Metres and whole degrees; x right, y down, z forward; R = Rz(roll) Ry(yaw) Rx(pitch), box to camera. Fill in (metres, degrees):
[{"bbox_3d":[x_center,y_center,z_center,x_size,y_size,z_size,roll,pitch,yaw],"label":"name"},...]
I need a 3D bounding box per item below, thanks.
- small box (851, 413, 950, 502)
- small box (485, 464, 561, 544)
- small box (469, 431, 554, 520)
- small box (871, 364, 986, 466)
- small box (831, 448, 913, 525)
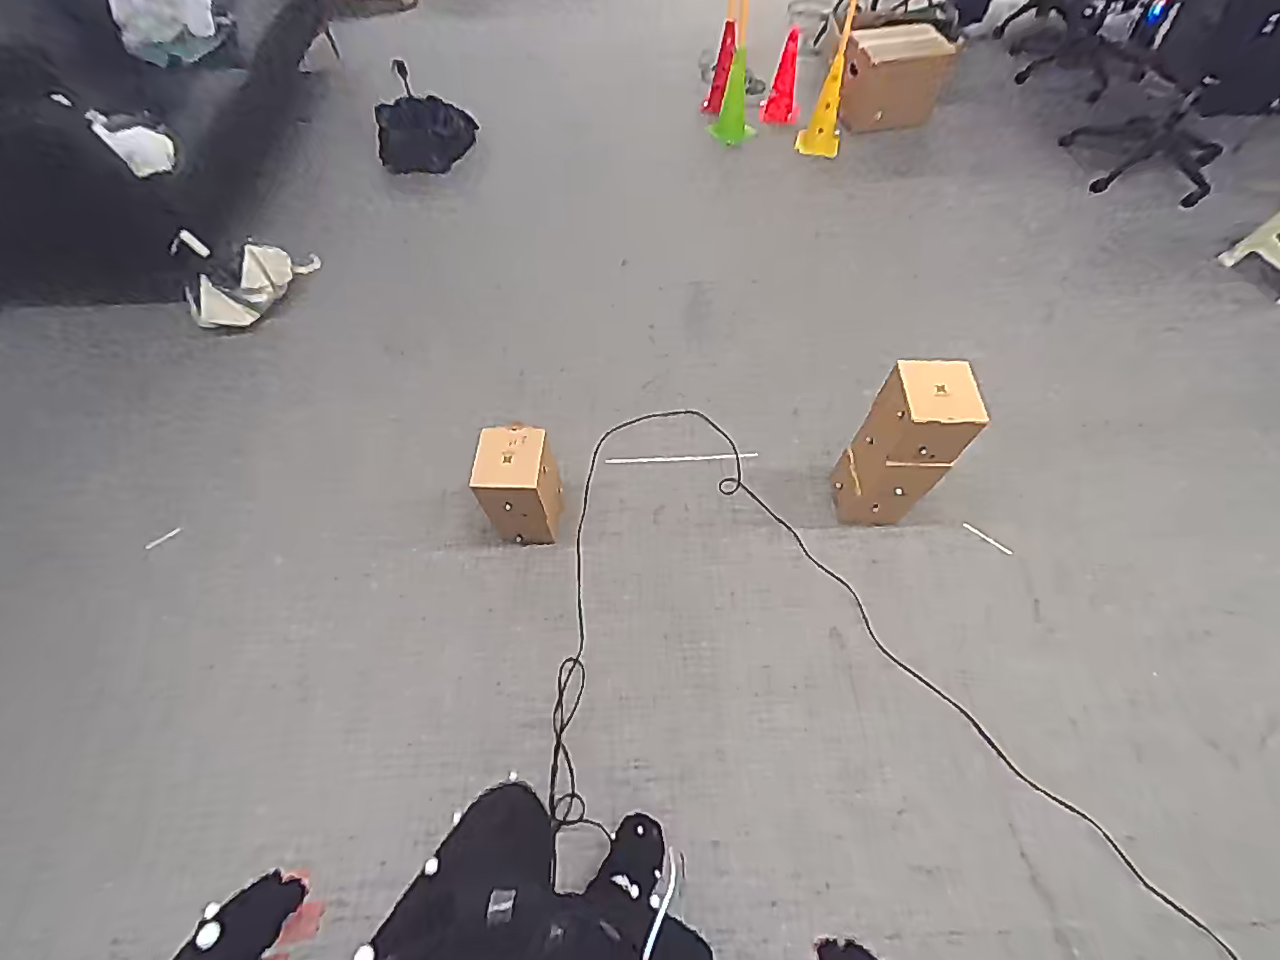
[{"bbox_3d":[0.668,-0.061,1.410,0.168,0.176,0.179,1,60,1],"label":"small box"},{"bbox_3d":[-0.323,0.064,1.533,0.168,0.176,0.179,3,59,3],"label":"small box"},{"bbox_3d":[-0.324,-0.007,1.403,0.168,0.176,0.179,2,59,3],"label":"small box"},{"bbox_3d":[0.666,-0.151,1.275,0.168,0.176,0.179,1,60,1],"label":"small box"},{"bbox_3d":[0.663,0.022,1.552,0.179,0.176,0.168,0,60,1],"label":"small box"}]
